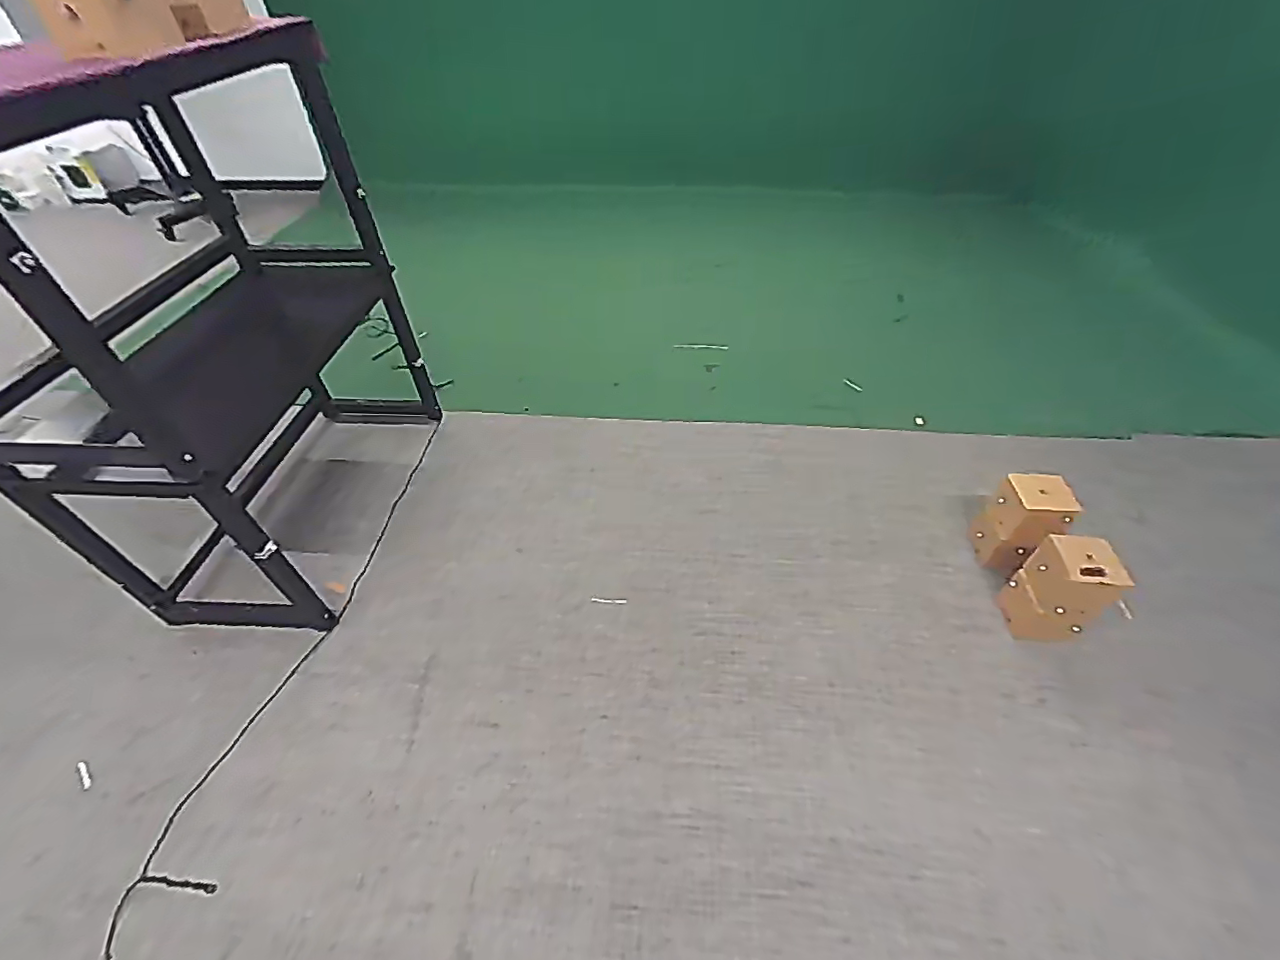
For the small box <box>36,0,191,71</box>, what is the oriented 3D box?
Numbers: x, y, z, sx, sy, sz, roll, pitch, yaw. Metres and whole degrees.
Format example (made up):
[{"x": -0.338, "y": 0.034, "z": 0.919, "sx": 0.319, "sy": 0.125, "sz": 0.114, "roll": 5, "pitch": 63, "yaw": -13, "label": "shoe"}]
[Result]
[{"x": -1.159, "y": -1.020, "z": 1.194, "sx": 0.168, "sy": 0.176, "sz": 0.179, "roll": 3, "pitch": 46, "yaw": 6, "label": "small box"}]

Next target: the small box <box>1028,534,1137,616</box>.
[{"x": 1.321, "y": 0.289, "z": 1.628, "sx": 0.168, "sy": 0.176, "sz": 0.179, "roll": 5, "pitch": 45, "yaw": 6, "label": "small box"}]

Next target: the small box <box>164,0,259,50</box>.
[{"x": -1.151, "y": -1.241, "z": 1.411, "sx": 0.168, "sy": 0.176, "sz": 0.179, "roll": 4, "pitch": 46, "yaw": 7, "label": "small box"}]

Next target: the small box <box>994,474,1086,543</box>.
[{"x": 1.331, "y": 0.097, "z": 1.819, "sx": 0.179, "sy": 0.176, "sz": 0.168, "roll": 2, "pitch": 45, "yaw": 4, "label": "small box"}]

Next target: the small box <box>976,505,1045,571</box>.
[{"x": 1.335, "y": 0.209, "z": 1.936, "sx": 0.179, "sy": 0.176, "sz": 0.168, "roll": 4, "pitch": 46, "yaw": 6, "label": "small box"}]
